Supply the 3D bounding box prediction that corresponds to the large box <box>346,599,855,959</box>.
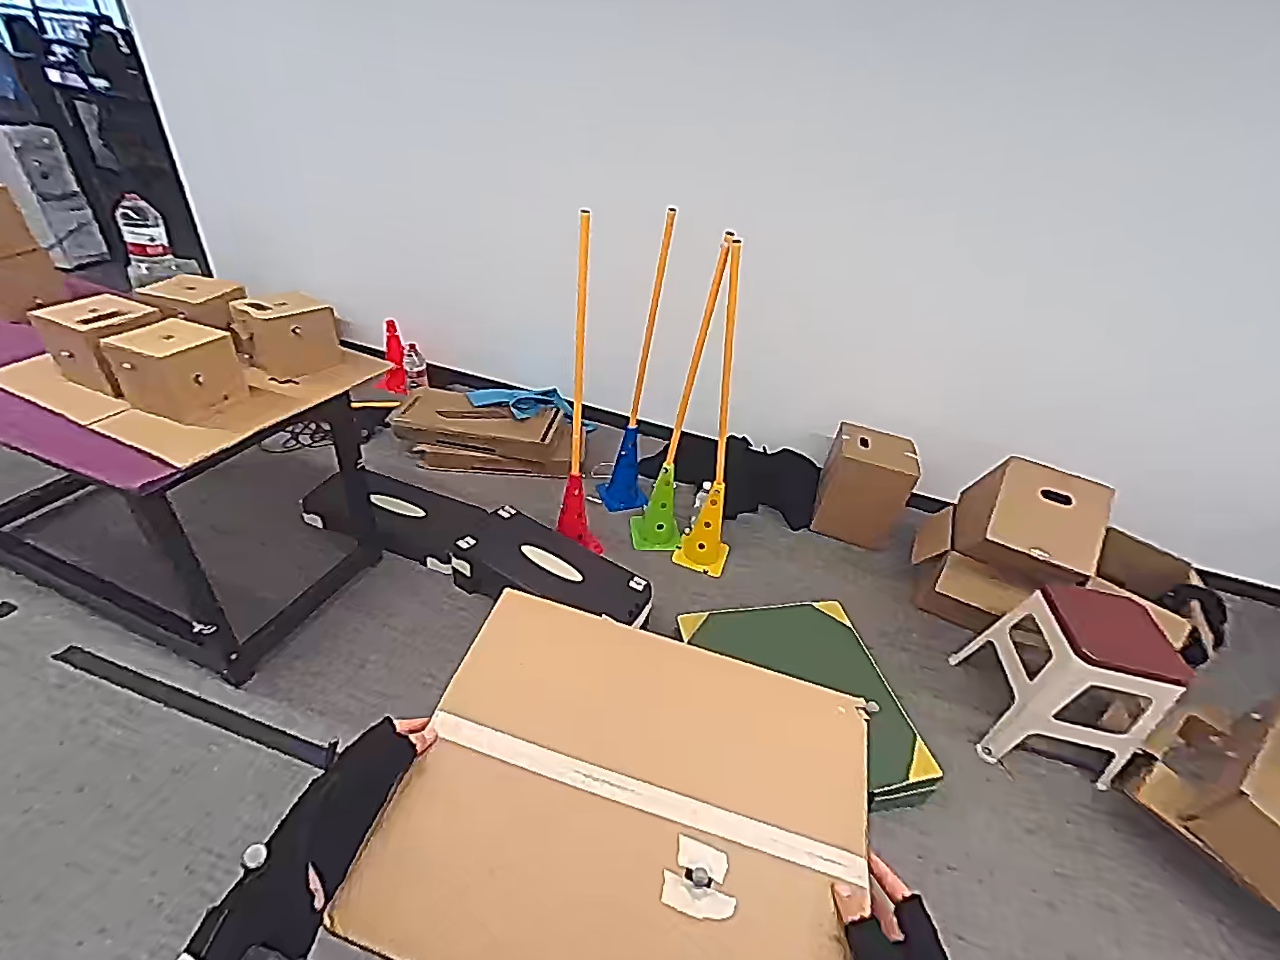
[{"bbox_3d":[-0.017,0.391,0.604,0.408,0.320,0.320,16,46,8],"label":"large box"}]
